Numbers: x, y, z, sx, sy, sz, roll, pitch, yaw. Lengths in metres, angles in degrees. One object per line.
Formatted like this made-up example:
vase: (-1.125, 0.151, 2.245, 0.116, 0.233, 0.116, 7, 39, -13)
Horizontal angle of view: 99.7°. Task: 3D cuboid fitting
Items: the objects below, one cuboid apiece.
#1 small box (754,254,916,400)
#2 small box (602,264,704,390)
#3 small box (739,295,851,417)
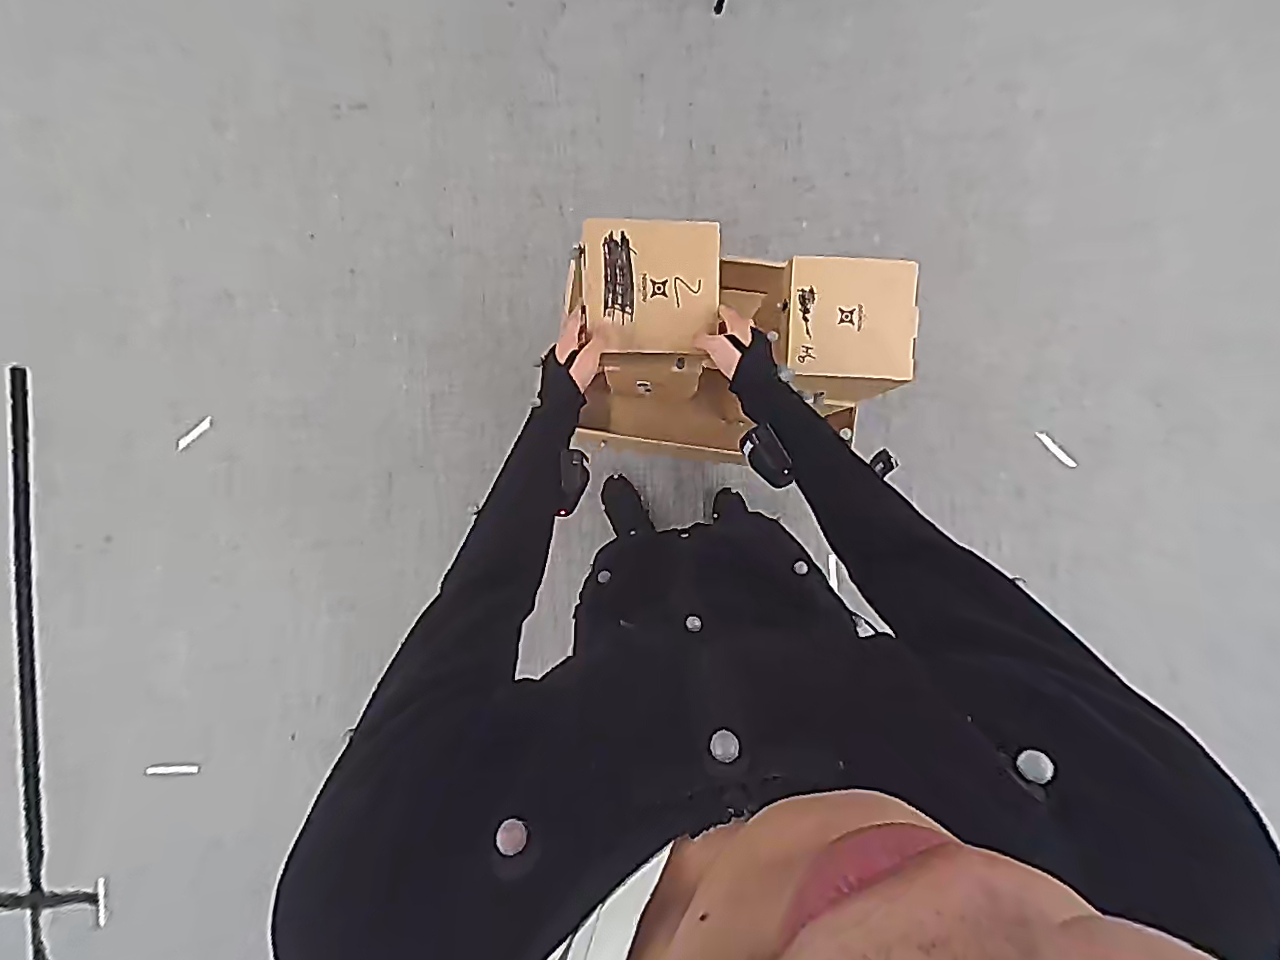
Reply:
small box: (0.284, -0.218, 0.816, 0.179, 0.176, 0.168, 4, 89, -2)
small box: (0.021, -0.267, 0.975, 0.168, 0.176, 0.179, 2, 90, 0)
small box: (0.280, -0.214, 0.981, 0.168, 0.176, 0.179, 6, 89, -1)
